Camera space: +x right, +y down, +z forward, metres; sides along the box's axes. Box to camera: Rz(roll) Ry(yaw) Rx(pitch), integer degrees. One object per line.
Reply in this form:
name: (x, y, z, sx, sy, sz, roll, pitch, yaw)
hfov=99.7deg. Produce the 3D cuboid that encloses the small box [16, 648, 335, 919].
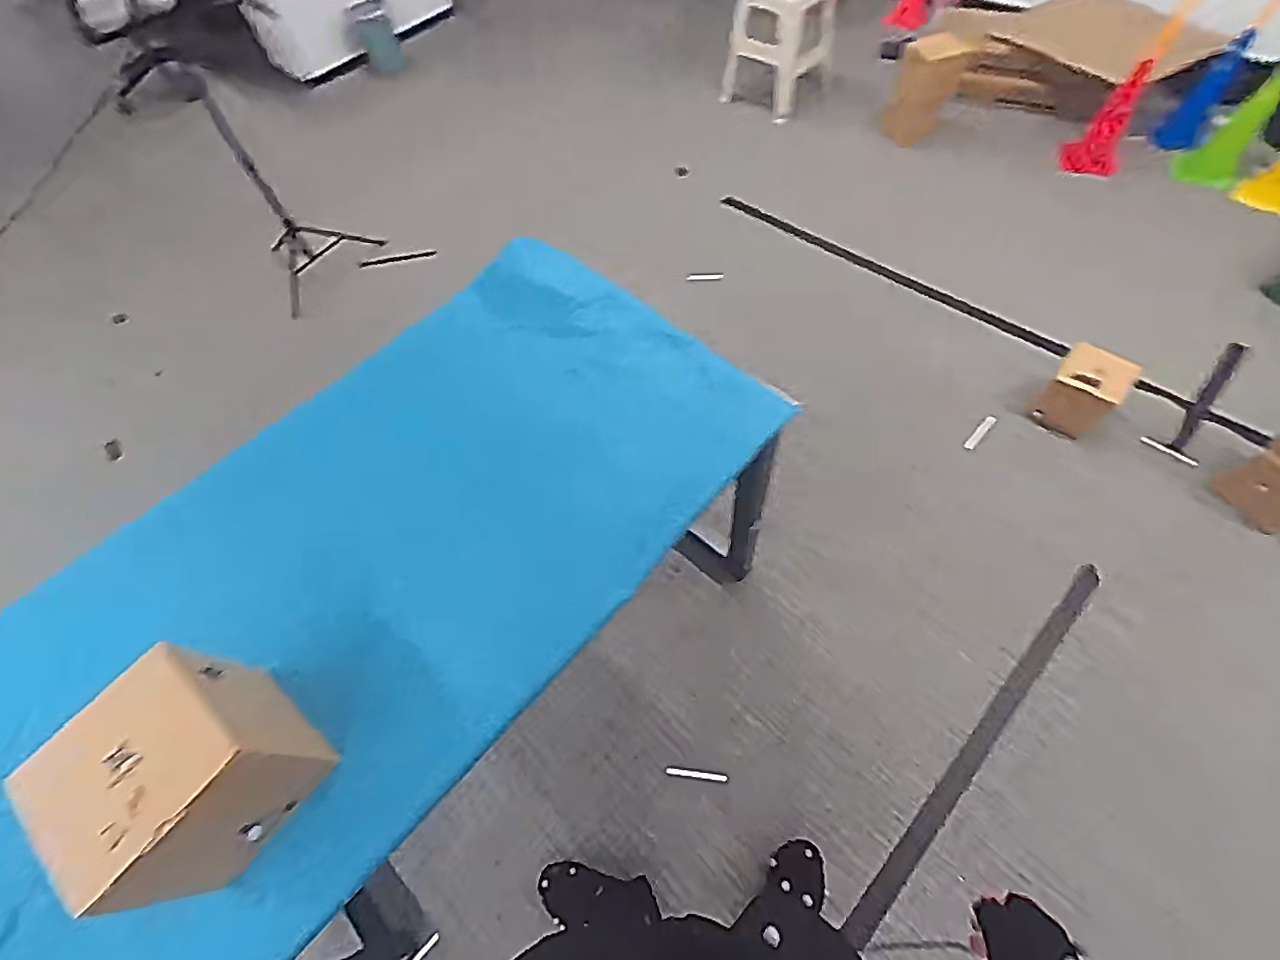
small box: (-0.487, 0.318, 0.592, 0.179, 0.176, 0.168, 37, 71, 21)

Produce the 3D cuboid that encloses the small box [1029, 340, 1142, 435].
small box: (1.268, -0.261, 1.555, 0.168, 0.176, 0.179, 37, 70, 23)

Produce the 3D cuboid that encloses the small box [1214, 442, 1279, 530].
small box: (1.648, -0.004, 1.371, 0.168, 0.176, 0.179, -29, 63, -11)
